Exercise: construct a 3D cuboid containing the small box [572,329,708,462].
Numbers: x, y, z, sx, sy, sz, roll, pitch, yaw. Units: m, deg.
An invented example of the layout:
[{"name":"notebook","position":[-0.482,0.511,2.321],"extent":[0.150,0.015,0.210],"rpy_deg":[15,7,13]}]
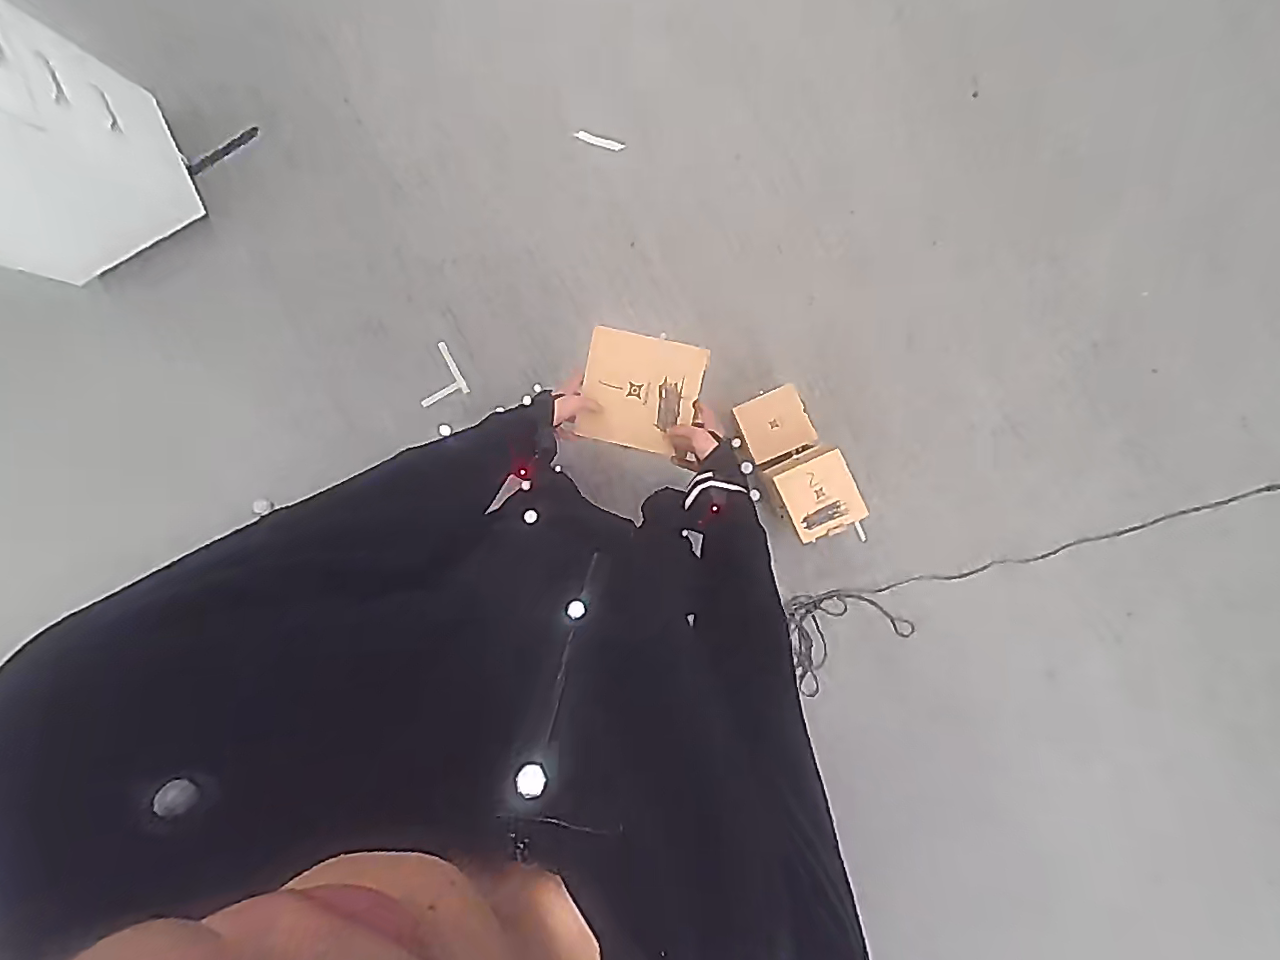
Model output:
[{"name":"small box","position":[0.005,-0.135,0.869],"extent":[0.179,0.176,0.168],"rpy_deg":[12,98,4]}]
